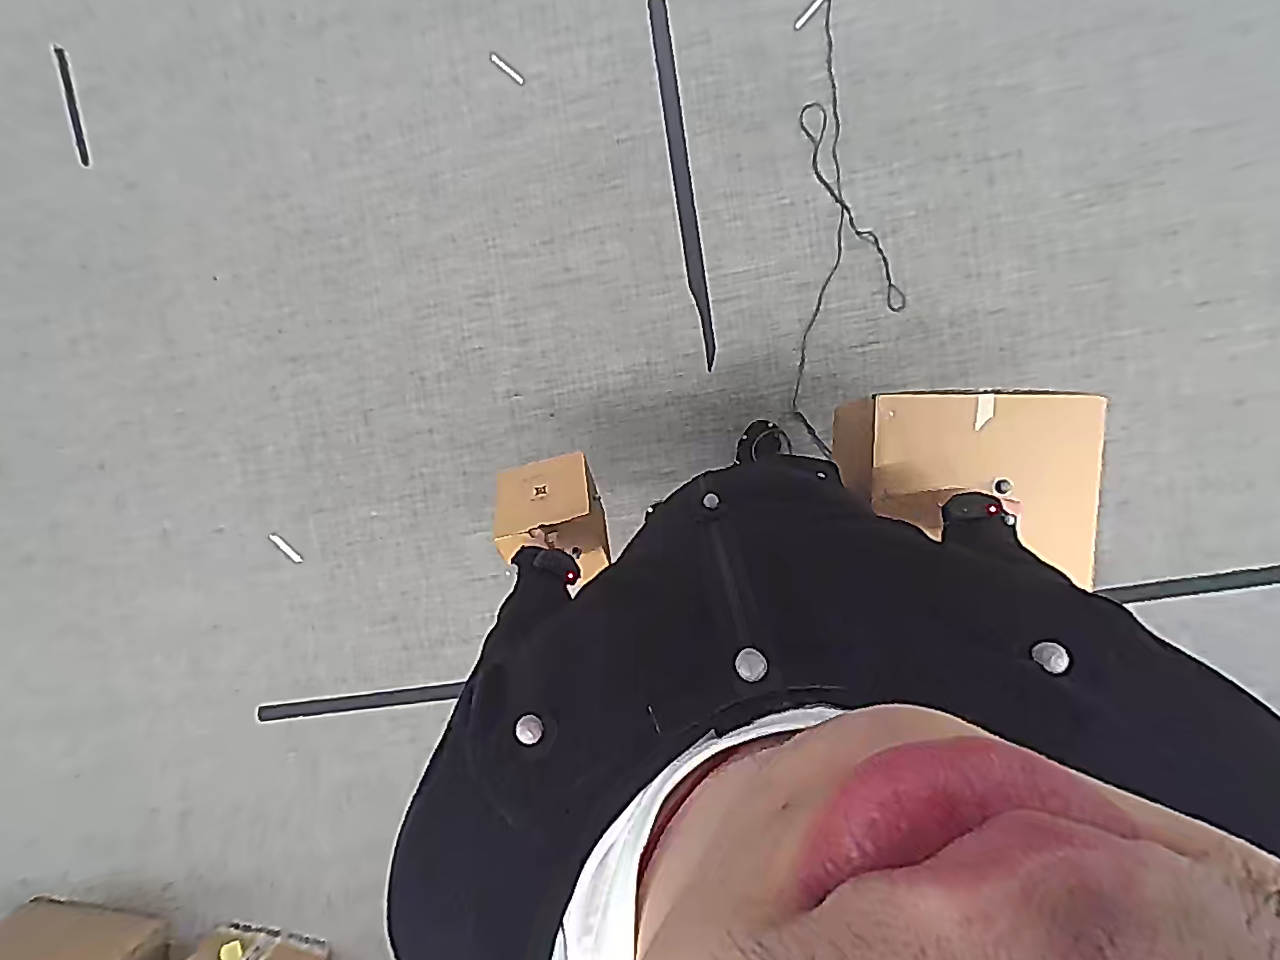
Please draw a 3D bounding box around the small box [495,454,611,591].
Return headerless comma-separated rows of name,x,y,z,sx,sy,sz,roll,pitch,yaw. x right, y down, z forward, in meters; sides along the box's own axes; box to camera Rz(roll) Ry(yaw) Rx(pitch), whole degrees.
small box,-0.156,0.084,0.996,0.168,0.179,0.176,-14,131,0
